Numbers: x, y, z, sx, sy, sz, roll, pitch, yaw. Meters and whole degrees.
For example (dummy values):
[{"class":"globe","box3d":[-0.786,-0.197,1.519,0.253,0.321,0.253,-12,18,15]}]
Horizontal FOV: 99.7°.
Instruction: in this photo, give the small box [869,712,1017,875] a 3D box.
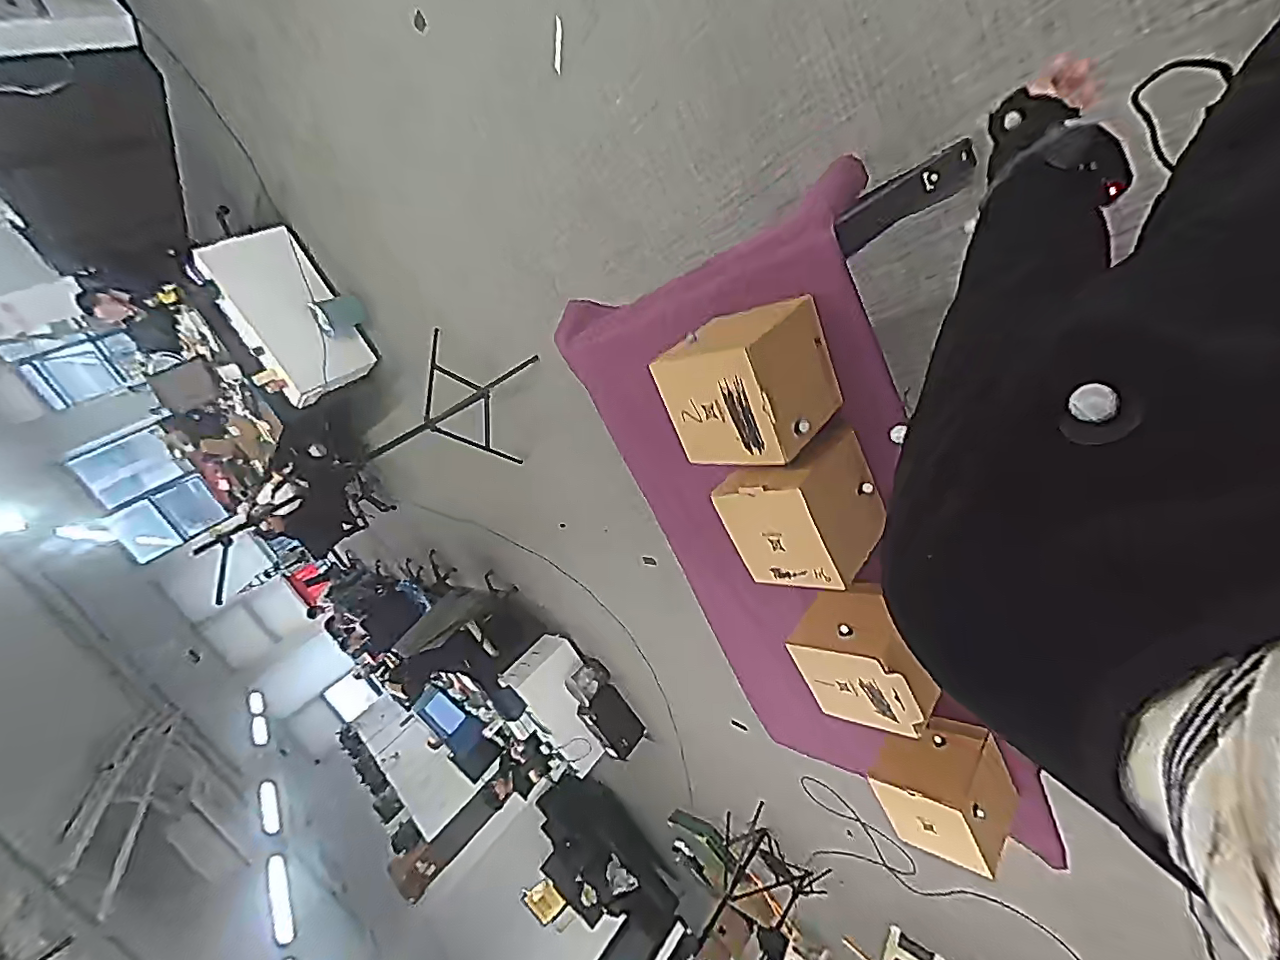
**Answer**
[{"class":"small box","box3d":[0.561,0.558,0.993,0.168,0.176,0.179,-10,115,53]}]

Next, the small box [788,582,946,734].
[{"class":"small box","box3d":[0.392,0.289,0.918,0.179,0.176,0.168,-11,115,54]}]
